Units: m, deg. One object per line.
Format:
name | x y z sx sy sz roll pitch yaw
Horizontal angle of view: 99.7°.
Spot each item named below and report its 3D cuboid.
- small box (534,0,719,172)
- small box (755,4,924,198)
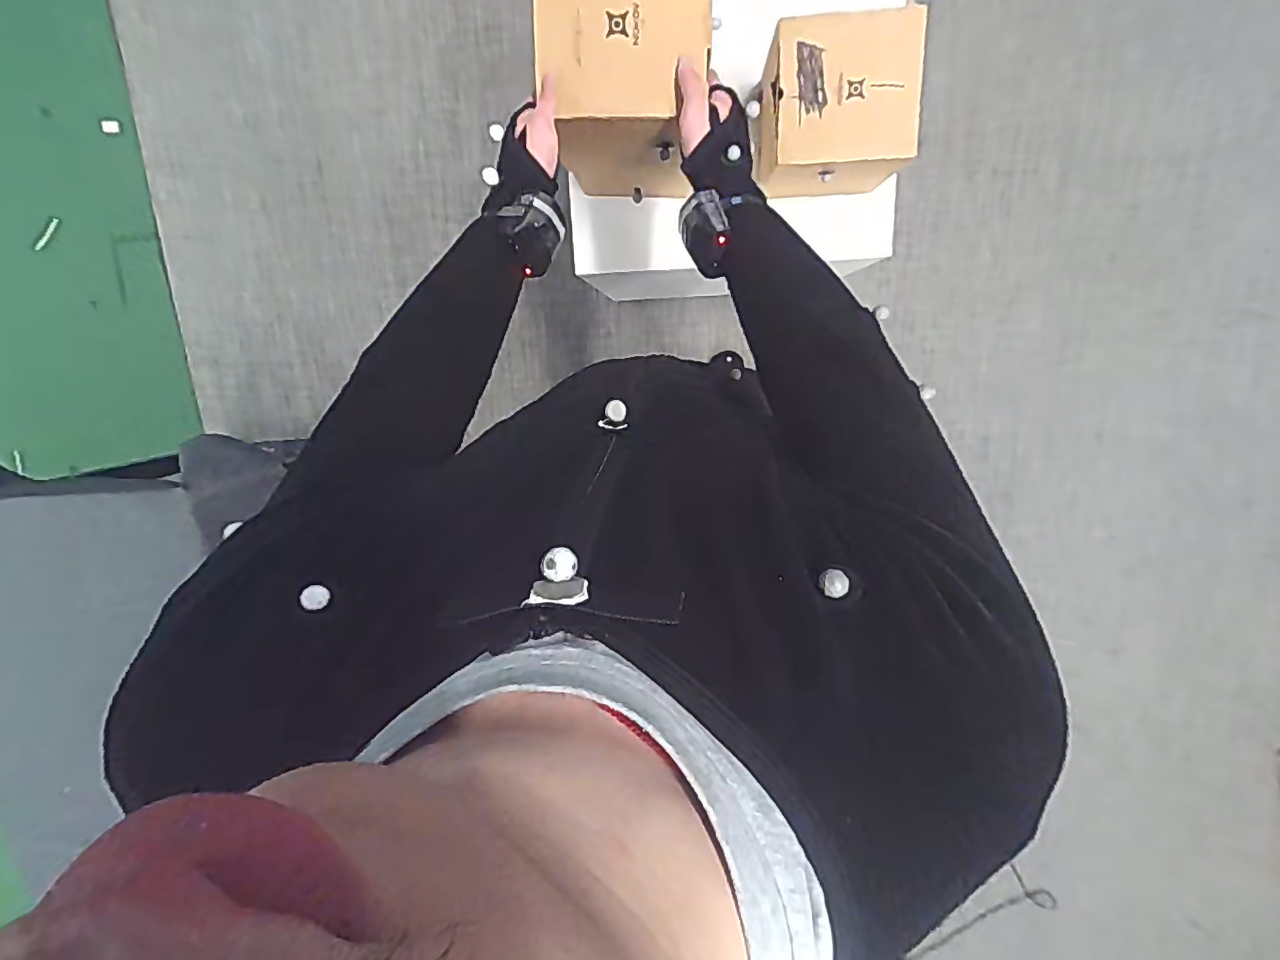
small box | -0.012 -0.452 0.586 0.179 0.176 0.168 -1 102 2
small box | 0.255 -0.497 0.736 0.179 0.176 0.168 -3 103 1
